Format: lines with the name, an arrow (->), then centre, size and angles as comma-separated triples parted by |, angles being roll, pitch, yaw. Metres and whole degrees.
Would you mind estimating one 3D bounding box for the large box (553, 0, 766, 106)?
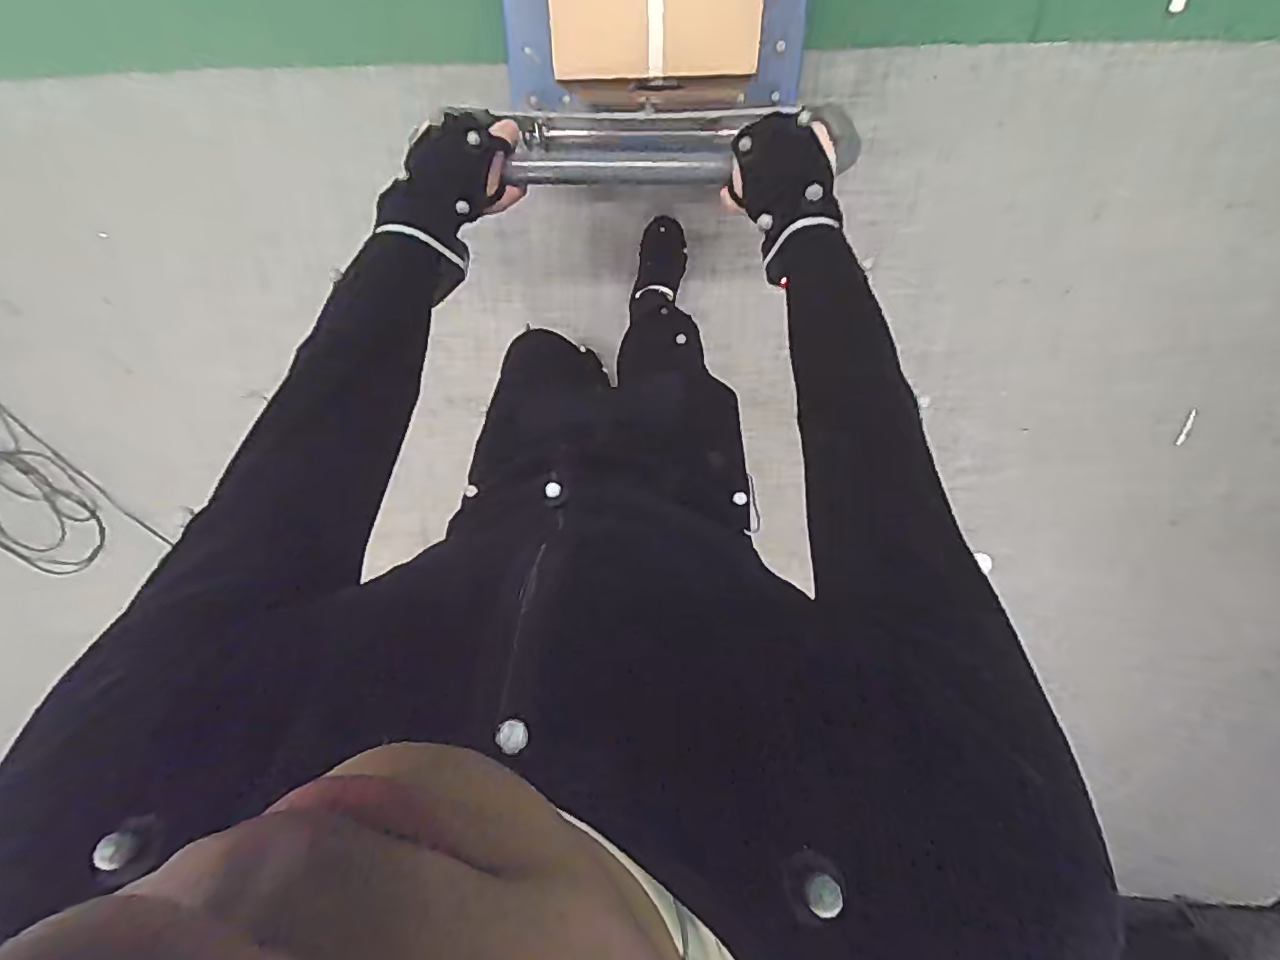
large box -> 0.036, -0.860, 0.863 | 0.320, 0.320, 0.408 | 2, 119, 3
